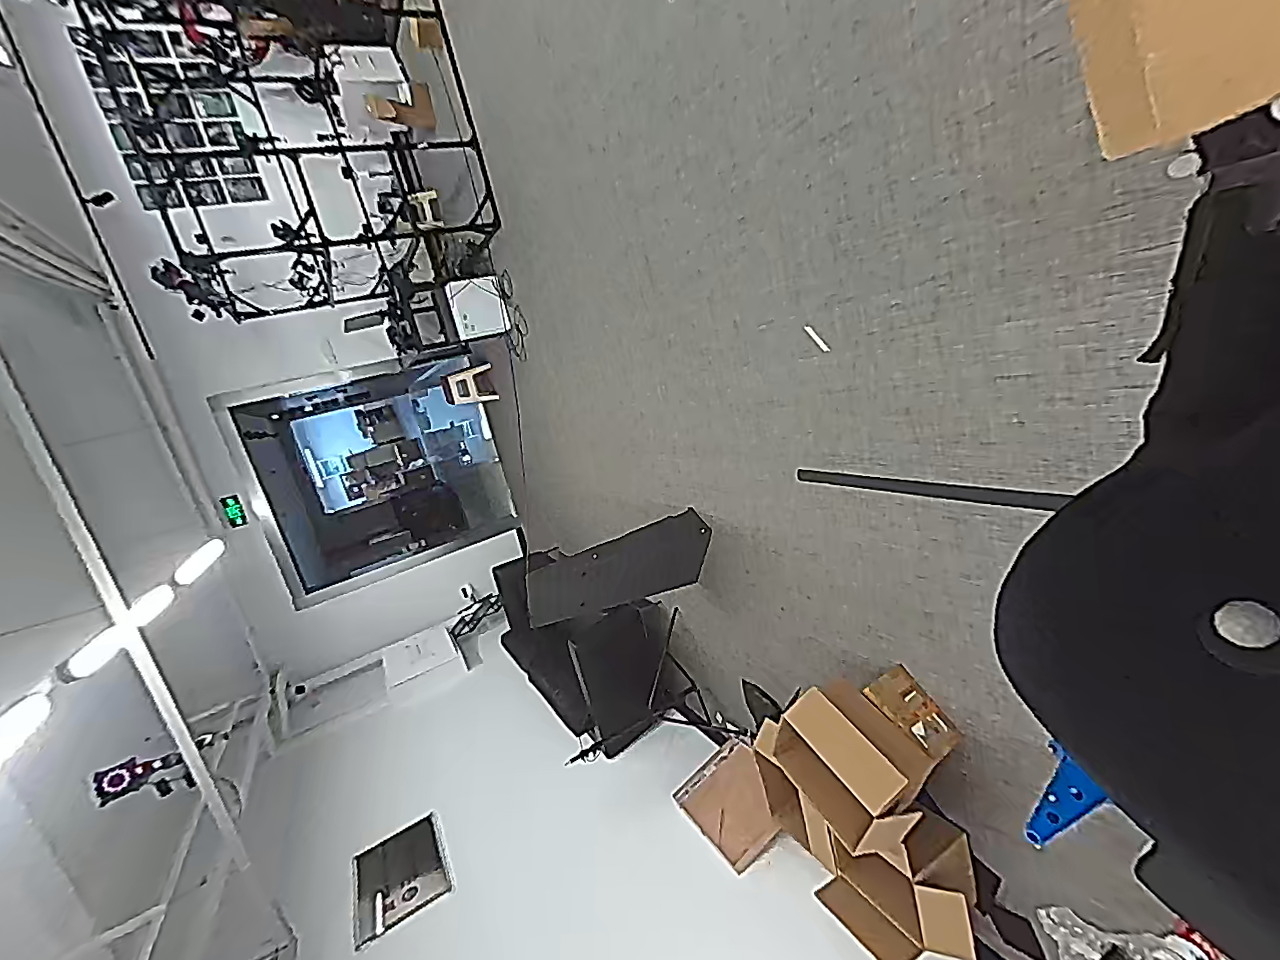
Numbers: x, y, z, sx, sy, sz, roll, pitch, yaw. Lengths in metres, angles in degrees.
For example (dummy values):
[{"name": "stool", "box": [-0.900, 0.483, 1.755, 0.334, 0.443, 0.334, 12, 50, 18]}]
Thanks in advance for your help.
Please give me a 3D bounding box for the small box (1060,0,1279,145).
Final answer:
[{"name": "small box", "box": [0.264, -0.259, 0.204, 0.168, 0.176, 0.179, -16, 105, 40]}]
